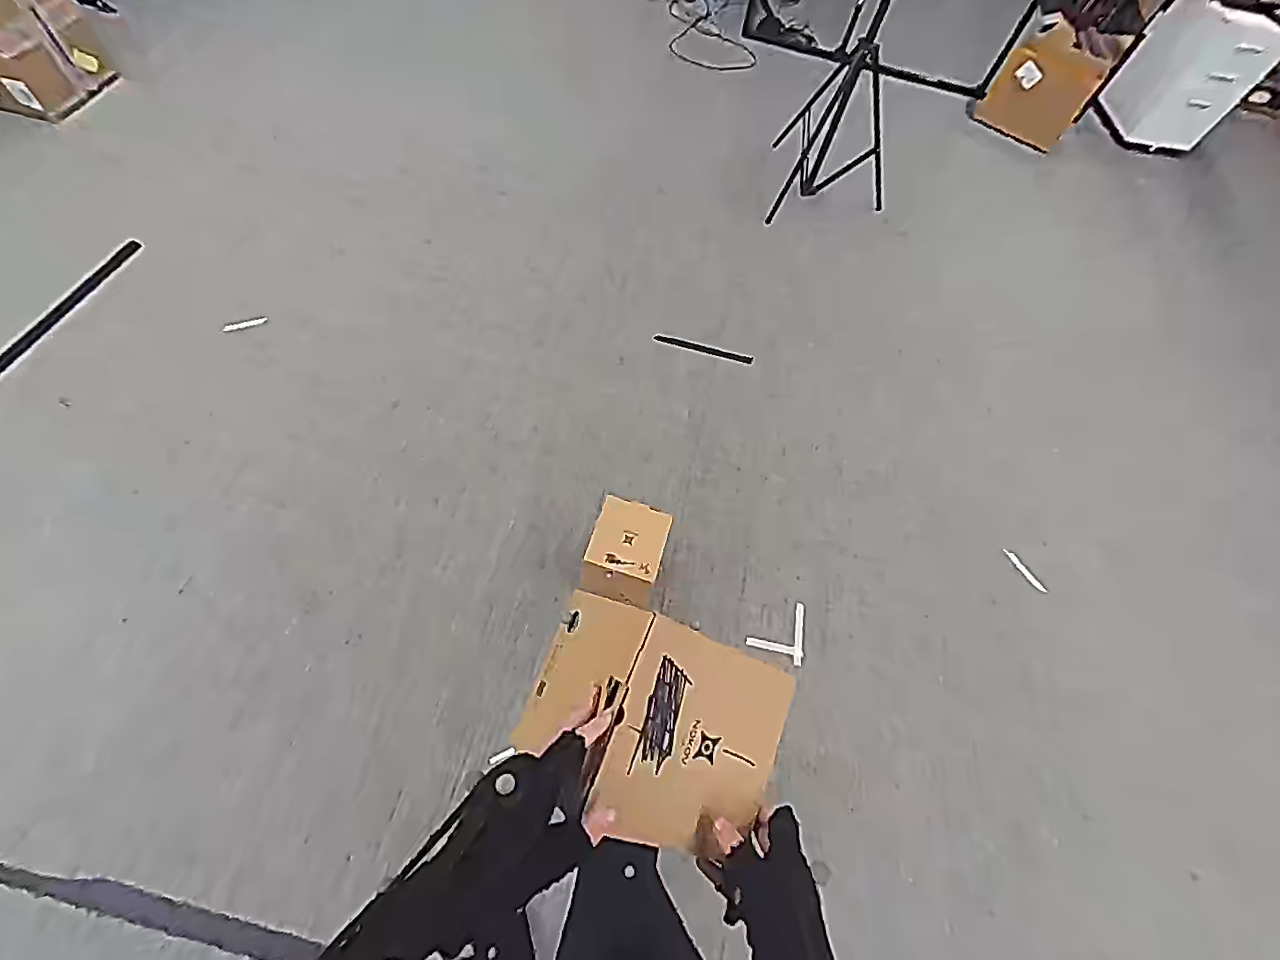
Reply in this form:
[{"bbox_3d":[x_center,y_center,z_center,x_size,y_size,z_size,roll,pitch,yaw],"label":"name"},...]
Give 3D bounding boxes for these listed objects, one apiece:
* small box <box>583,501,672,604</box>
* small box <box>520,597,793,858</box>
[{"bbox_3d":[-0.035,0.183,1.296,0.168,0.176,0.179,18,59,2],"label":"small box"},{"bbox_3d":[0.008,0.222,0.525,0.179,0.176,0.168,30,72,-25],"label":"small box"}]
